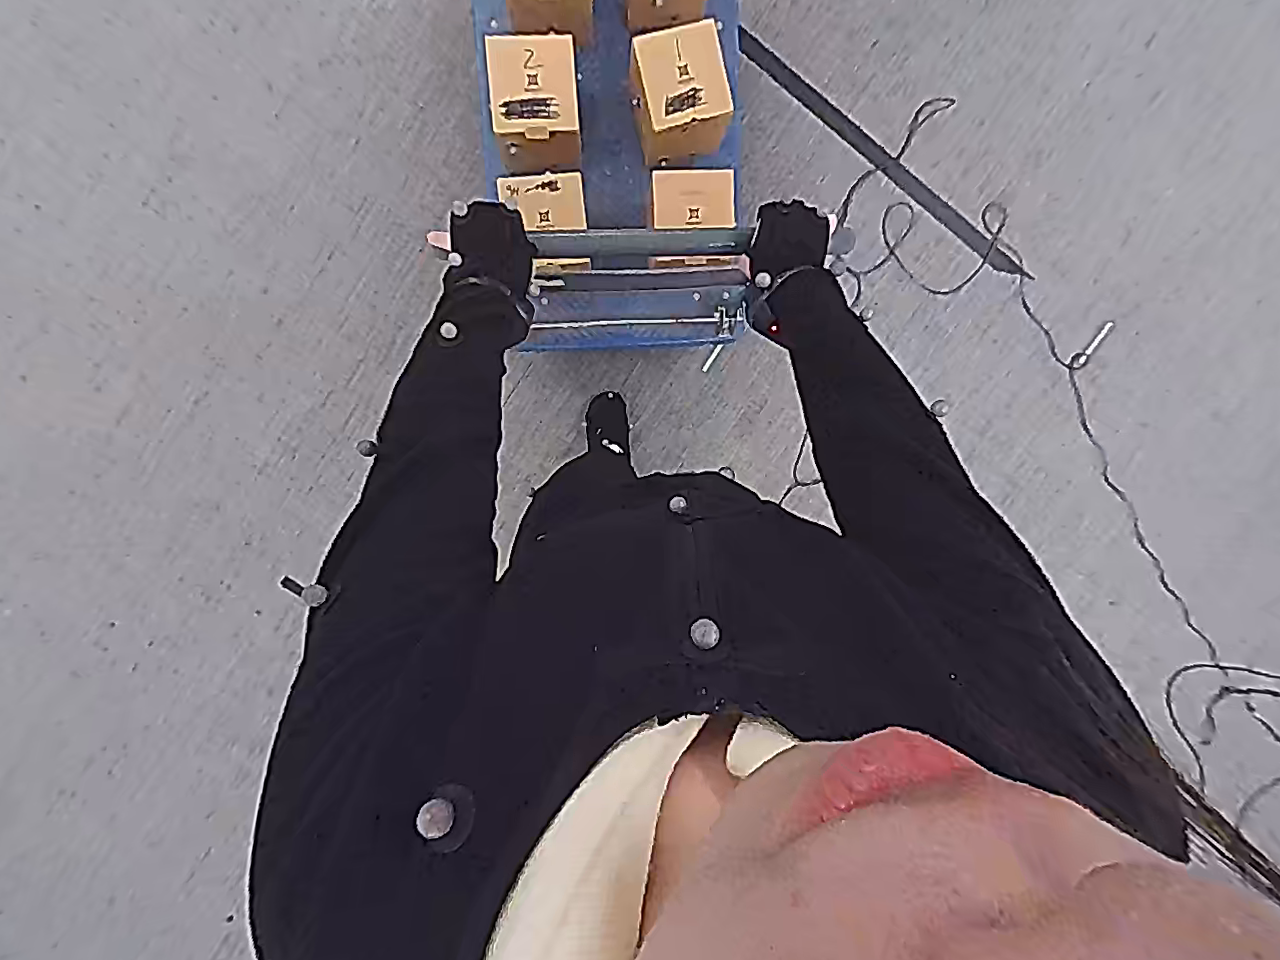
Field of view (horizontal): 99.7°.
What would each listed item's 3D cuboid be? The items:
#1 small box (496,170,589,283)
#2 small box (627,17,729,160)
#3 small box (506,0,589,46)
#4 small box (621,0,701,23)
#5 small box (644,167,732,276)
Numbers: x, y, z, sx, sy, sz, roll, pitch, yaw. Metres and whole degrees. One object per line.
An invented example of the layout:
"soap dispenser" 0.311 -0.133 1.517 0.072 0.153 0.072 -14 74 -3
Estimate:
"small box" -0.198 -0.523 1.141 0.168 0.176 0.179 -7 98 -5
"small box" 0.073 -0.800 1.129 0.168 0.176 0.179 -15 97 -3
"small box" -0.186 -1.019 1.078 0.168 0.176 0.179 -2 98 -4
"small box" 0.044 -1.069 1.093 0.168 0.176 0.179 -6 97 -4
"small box" 0.098 -0.546 1.163 0.168 0.176 0.179 -3 97 -5
